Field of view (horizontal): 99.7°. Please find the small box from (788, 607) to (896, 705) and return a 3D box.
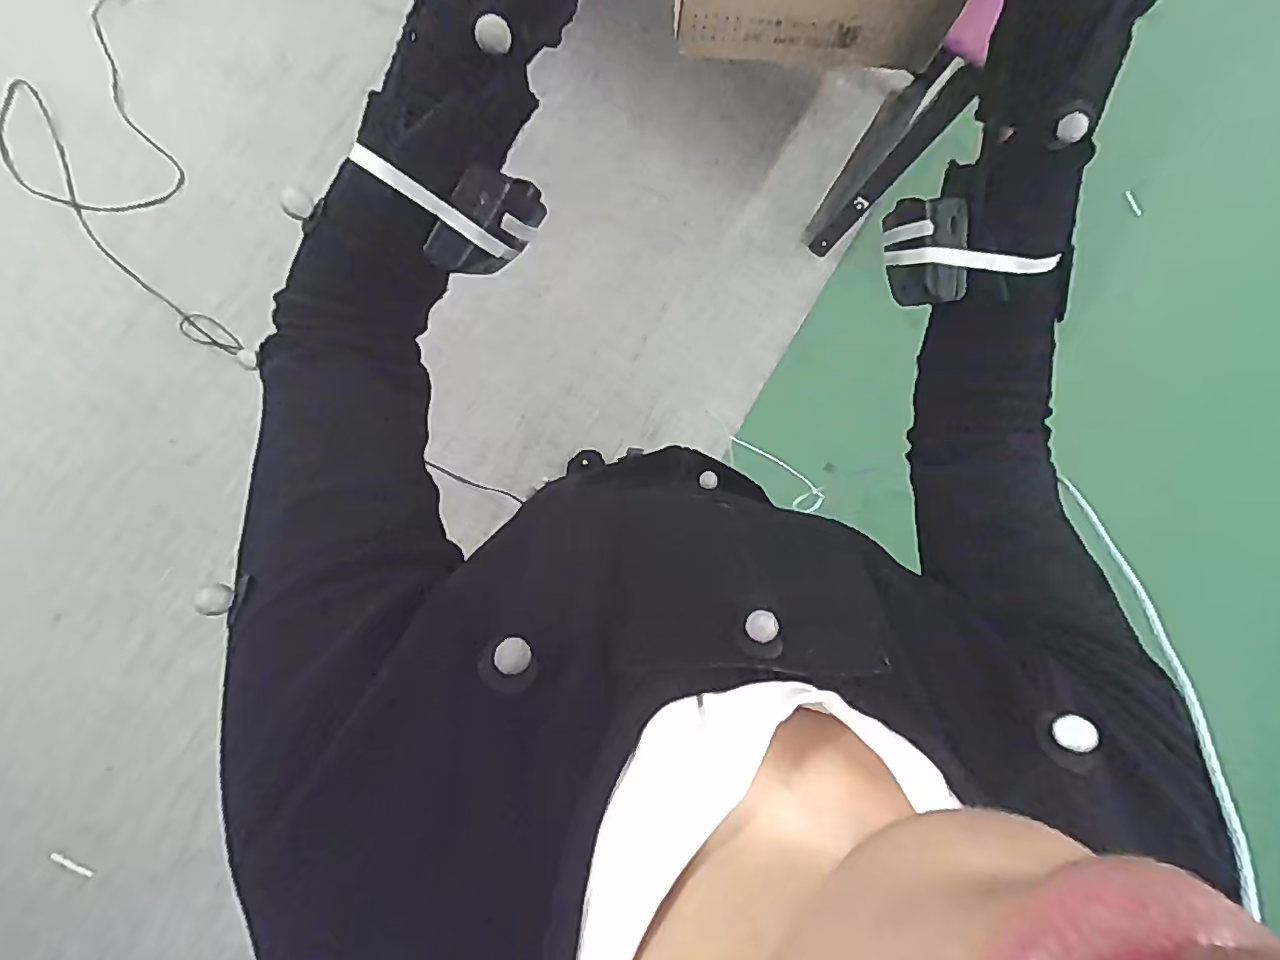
[{"bbox_3d":[0.526,0.455,1.435,0.179,0.176,0.168,35,87,-4],"label":"small box"}]
